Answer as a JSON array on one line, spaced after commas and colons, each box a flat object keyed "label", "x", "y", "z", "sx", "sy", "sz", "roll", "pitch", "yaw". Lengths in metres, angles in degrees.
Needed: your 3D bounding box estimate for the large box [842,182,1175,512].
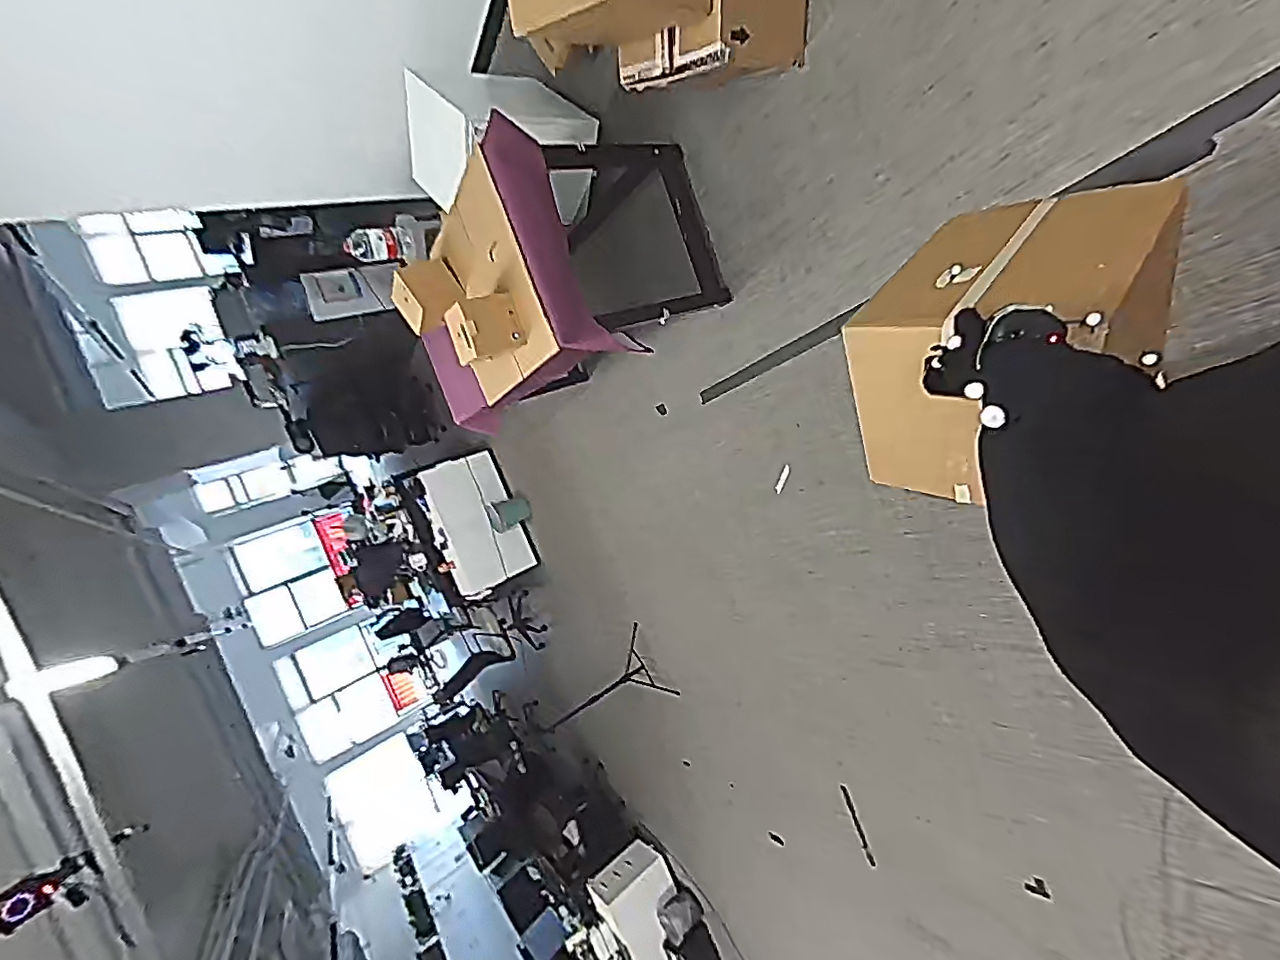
[{"label": "large box", "x": 0.587, "y": -0.218, "z": 0.875, "sx": 0.320, "sy": 0.408, "sz": 0.320, "roll": 17, "pitch": 143, "yaw": 47}]
